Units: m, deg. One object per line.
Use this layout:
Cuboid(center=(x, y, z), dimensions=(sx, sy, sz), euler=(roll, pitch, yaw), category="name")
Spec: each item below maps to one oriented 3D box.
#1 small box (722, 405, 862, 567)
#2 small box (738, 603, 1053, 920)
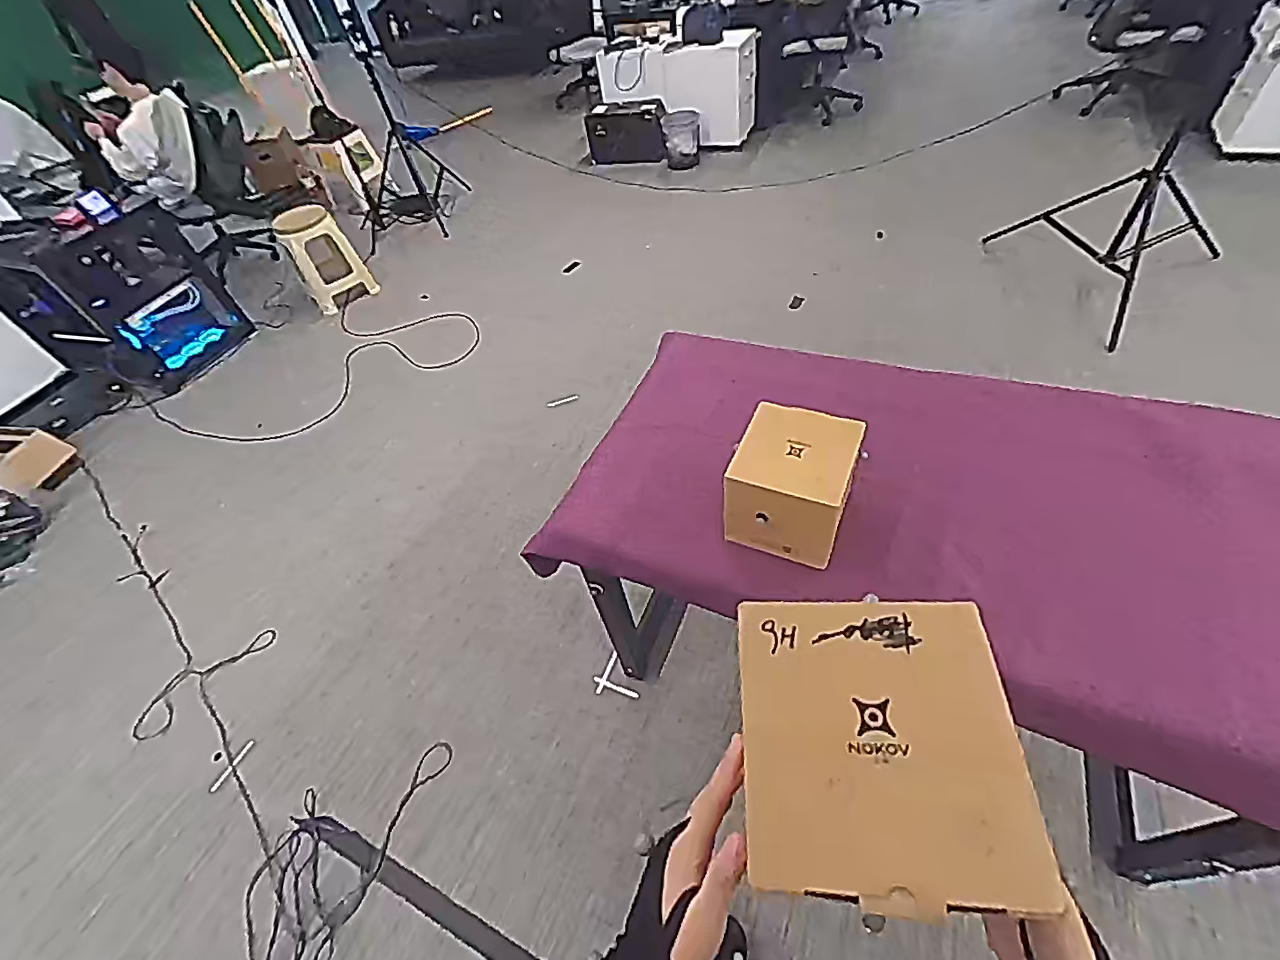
Cuboid(center=(0.240, 0.011, 0.864), dimensions=(0.168, 0.176, 0.179), euler=(16, 53, 21), category="small box")
Cuboid(center=(0.162, 0.208, 0.413), dimensions=(0.168, 0.176, 0.179), euler=(-2, 55, 10), category="small box")
